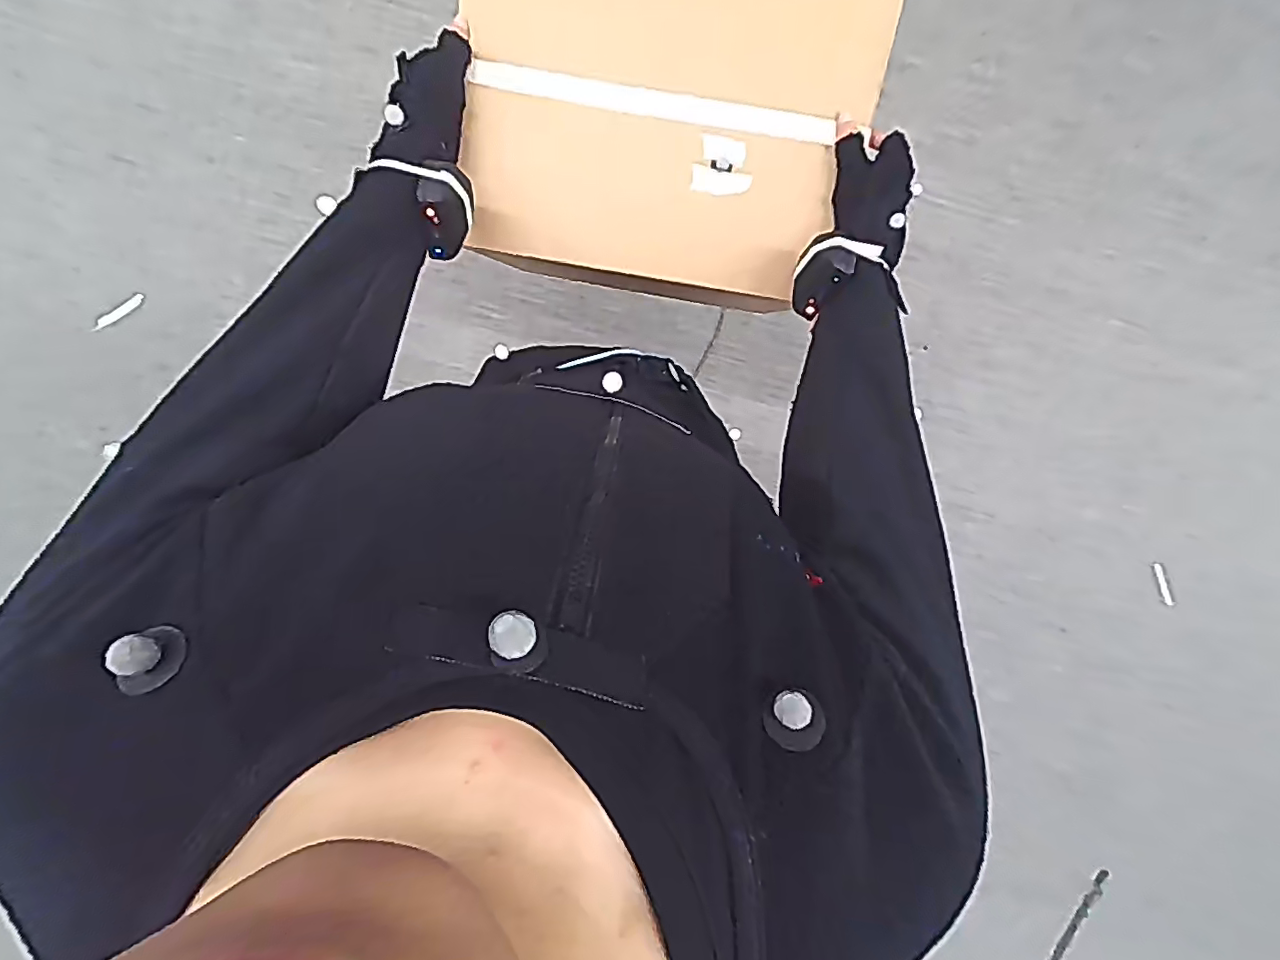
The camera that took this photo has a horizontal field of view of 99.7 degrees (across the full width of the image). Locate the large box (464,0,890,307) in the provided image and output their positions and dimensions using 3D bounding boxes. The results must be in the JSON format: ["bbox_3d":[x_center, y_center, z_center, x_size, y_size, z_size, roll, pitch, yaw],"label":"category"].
[{"bbox_3d":[0.026,-0.411,0.687,0.408,0.320,0.320,9,107,-2],"label":"large box"}]
